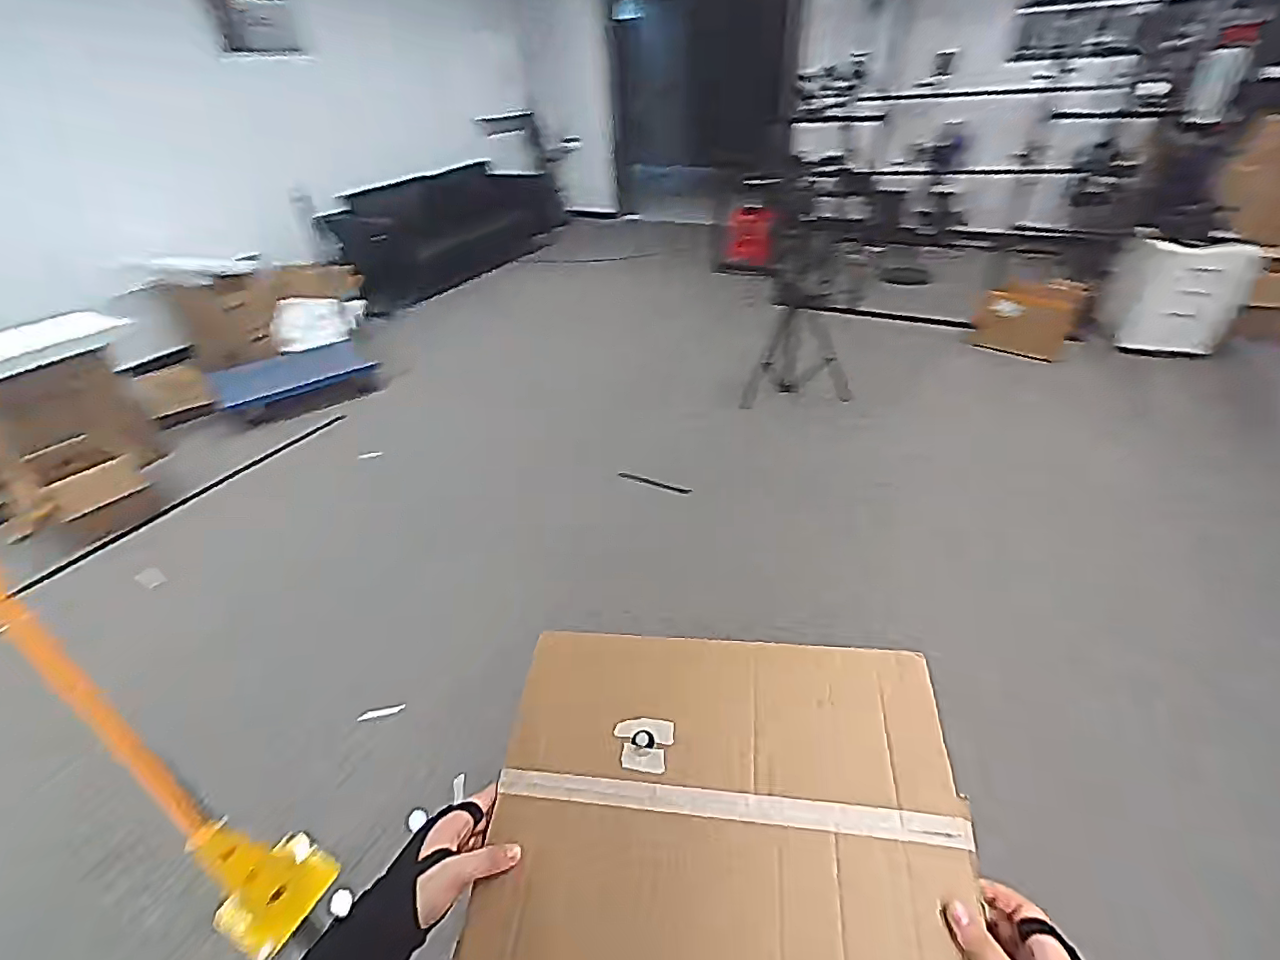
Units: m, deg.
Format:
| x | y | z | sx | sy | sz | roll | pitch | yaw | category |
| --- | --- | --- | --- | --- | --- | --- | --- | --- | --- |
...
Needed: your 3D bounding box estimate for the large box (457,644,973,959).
| x | y | z | sx | sy | sz | roll | pitch | yaw | category |
| --- | --- | --- | --- | --- | --- | --- | --- | --- | --- |
| 0.083 | 0.392 | 0.593 | 0.408 | 0.320 | 0.320 | -2 | 46 | 12 | large box |
